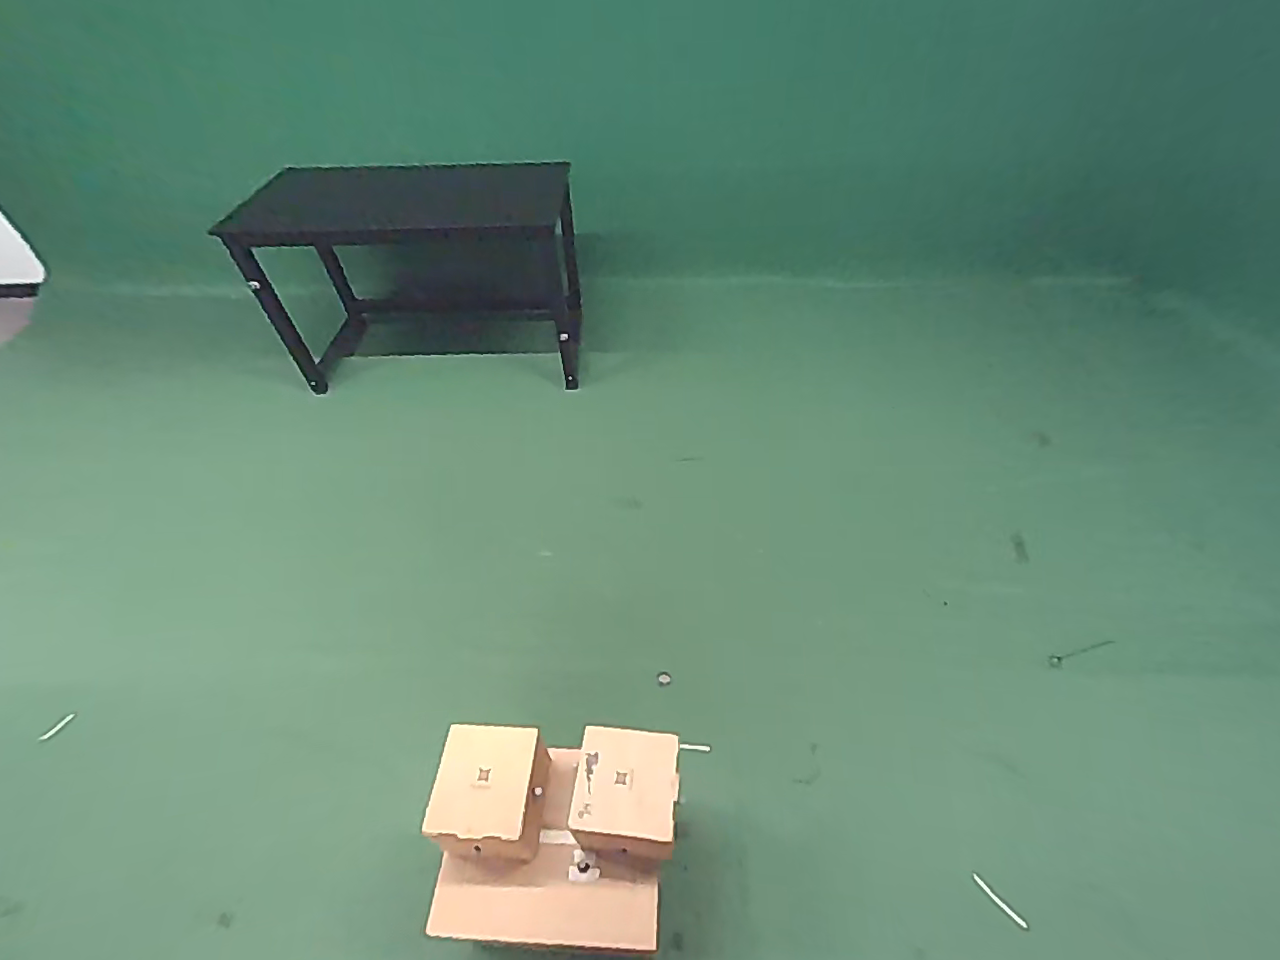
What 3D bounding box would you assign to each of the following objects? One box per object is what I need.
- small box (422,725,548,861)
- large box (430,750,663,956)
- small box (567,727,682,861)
[{"bbox_3d":[-0.268,0.570,0.984,0.168,0.176,0.179,1,47,3],"label":"small box"},{"bbox_3d":[-0.156,0.773,1.123,0.408,0.320,0.320,1,48,3],"label":"large box"},{"bbox_3d":[-0.019,0.568,0.973,0.179,0.176,0.168,4,47,7],"label":"small box"}]
